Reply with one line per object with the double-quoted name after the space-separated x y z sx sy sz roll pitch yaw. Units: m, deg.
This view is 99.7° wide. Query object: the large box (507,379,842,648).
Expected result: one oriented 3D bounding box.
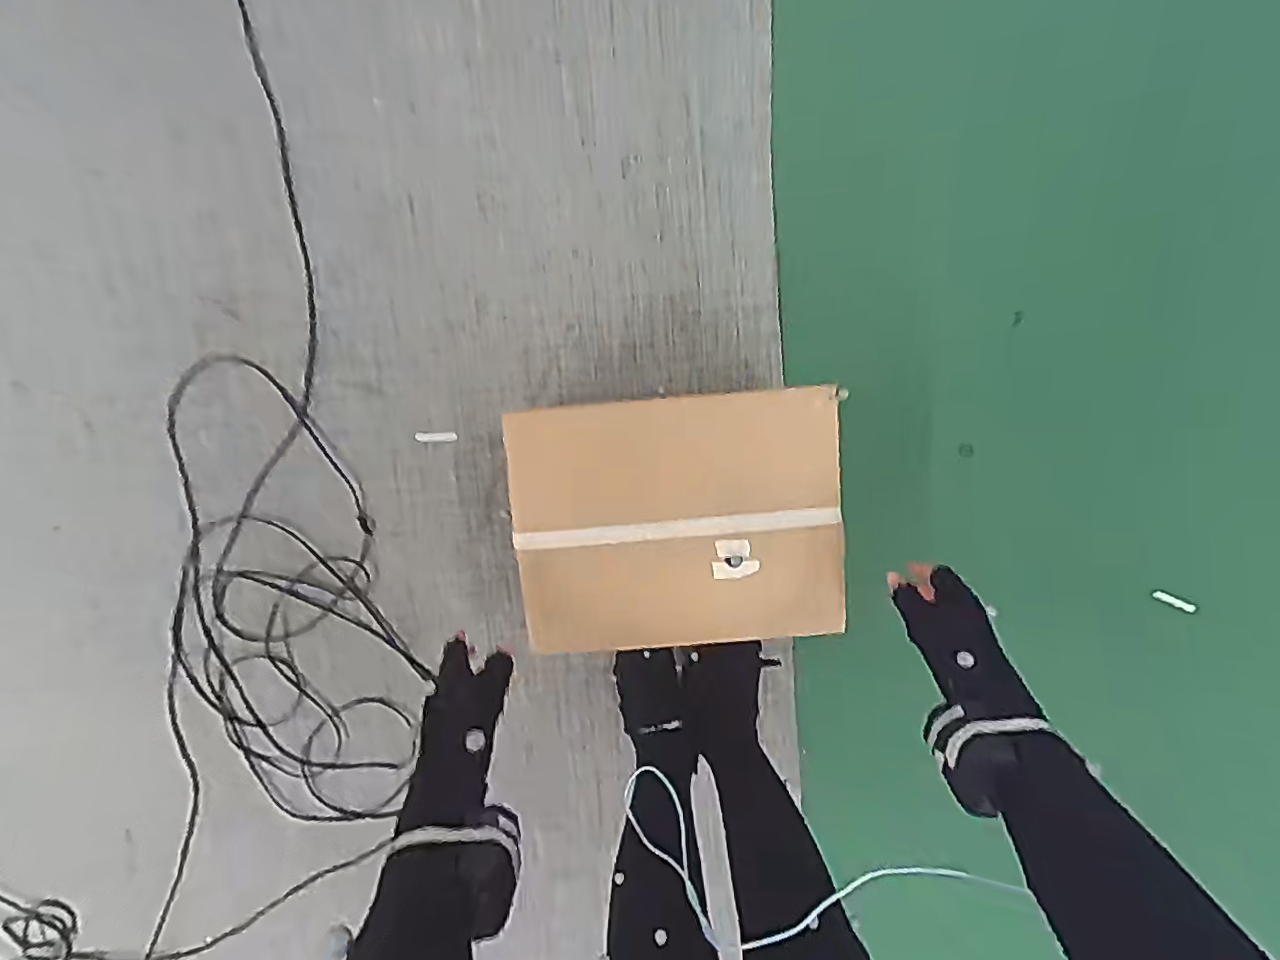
0.046 0.029 0.823 0.408 0.320 0.320 -5 98 0 "large box"
